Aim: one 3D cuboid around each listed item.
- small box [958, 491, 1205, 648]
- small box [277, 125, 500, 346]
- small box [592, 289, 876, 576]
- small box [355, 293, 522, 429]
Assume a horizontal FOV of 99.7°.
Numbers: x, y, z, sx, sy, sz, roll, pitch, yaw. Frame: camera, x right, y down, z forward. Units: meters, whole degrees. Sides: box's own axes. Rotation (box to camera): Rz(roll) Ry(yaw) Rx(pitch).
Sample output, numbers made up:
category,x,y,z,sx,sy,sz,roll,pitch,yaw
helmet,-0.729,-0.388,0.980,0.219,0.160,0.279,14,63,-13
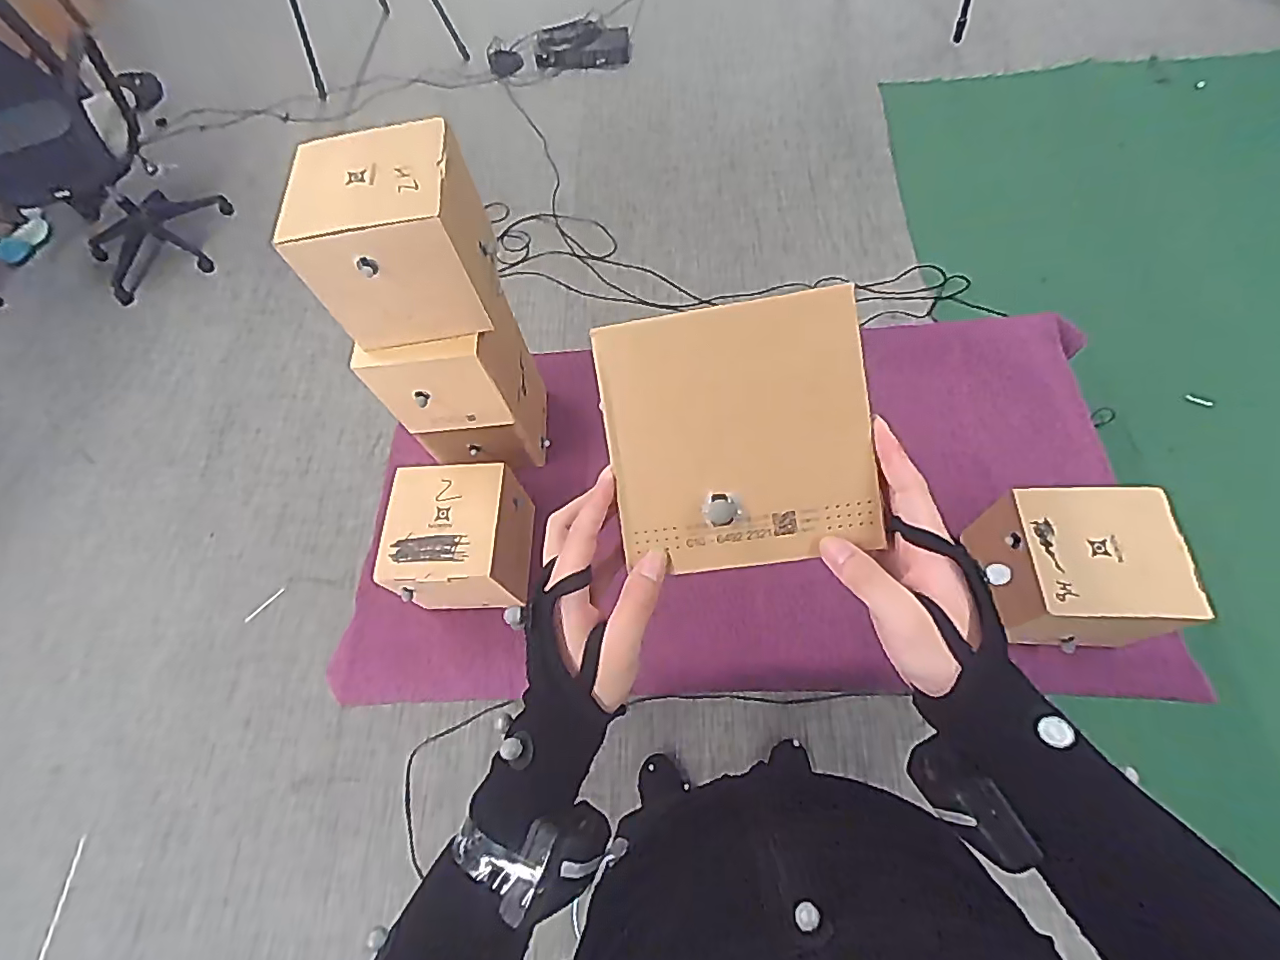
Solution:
category,x,y,z,sx,sy,sz,roll,pitch,yaw
small box,0.564,0.125,0.722,0.179,0.176,0.168,0,63,7
small box,-0.281,-0.281,0.648,0.179,0.176,0.168,-8,64,2
small box,0.068,-0.029,0.424,0.168,0.179,0.176,-9,93,6
small box,-0.277,-0.185,0.785,0.168,0.176,0.179,-5,63,4
